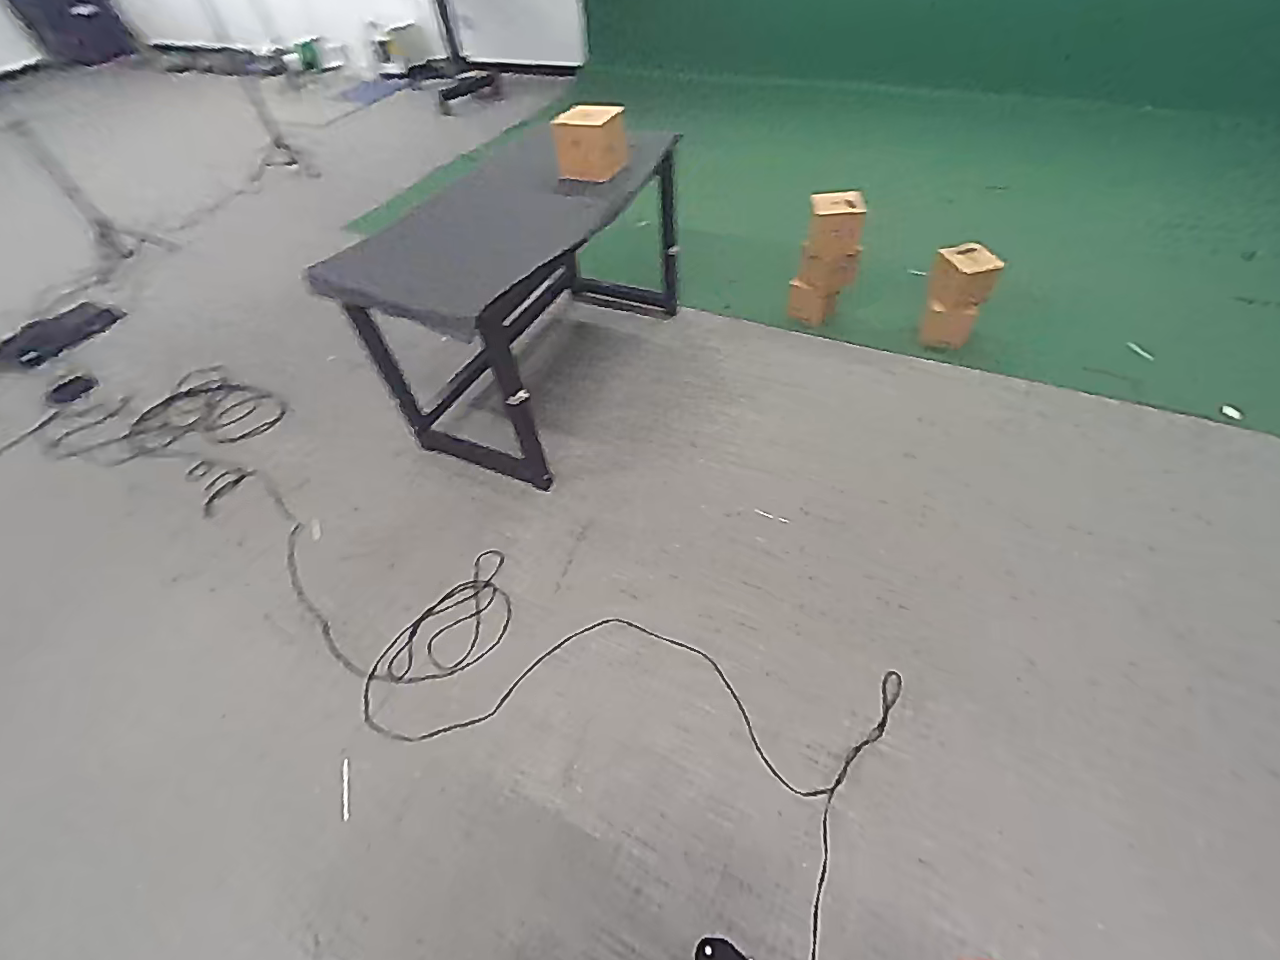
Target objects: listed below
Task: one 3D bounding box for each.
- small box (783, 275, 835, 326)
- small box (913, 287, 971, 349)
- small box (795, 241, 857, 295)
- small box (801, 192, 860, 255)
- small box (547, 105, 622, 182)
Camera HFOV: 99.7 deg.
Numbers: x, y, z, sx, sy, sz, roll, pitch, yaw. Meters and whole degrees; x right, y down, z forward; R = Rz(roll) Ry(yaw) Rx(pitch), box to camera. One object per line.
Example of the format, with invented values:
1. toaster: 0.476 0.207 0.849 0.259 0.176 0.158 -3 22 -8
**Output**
1. small box: 0.750 -0.812 2.393 0.168 0.176 0.179 34 61 27
2. small box: 1.243 -0.671 2.235 0.168 0.176 0.179 11 52 13
3. small box: 0.765 -0.900 2.254 0.179 0.176 0.168 -23 54 -14
4. small box: 0.746 -1.006 2.129 0.179 0.176 0.168 -1 52 5
5. small box: -0.171 -1.096 1.764 0.179 0.176 0.168 17 54 20
